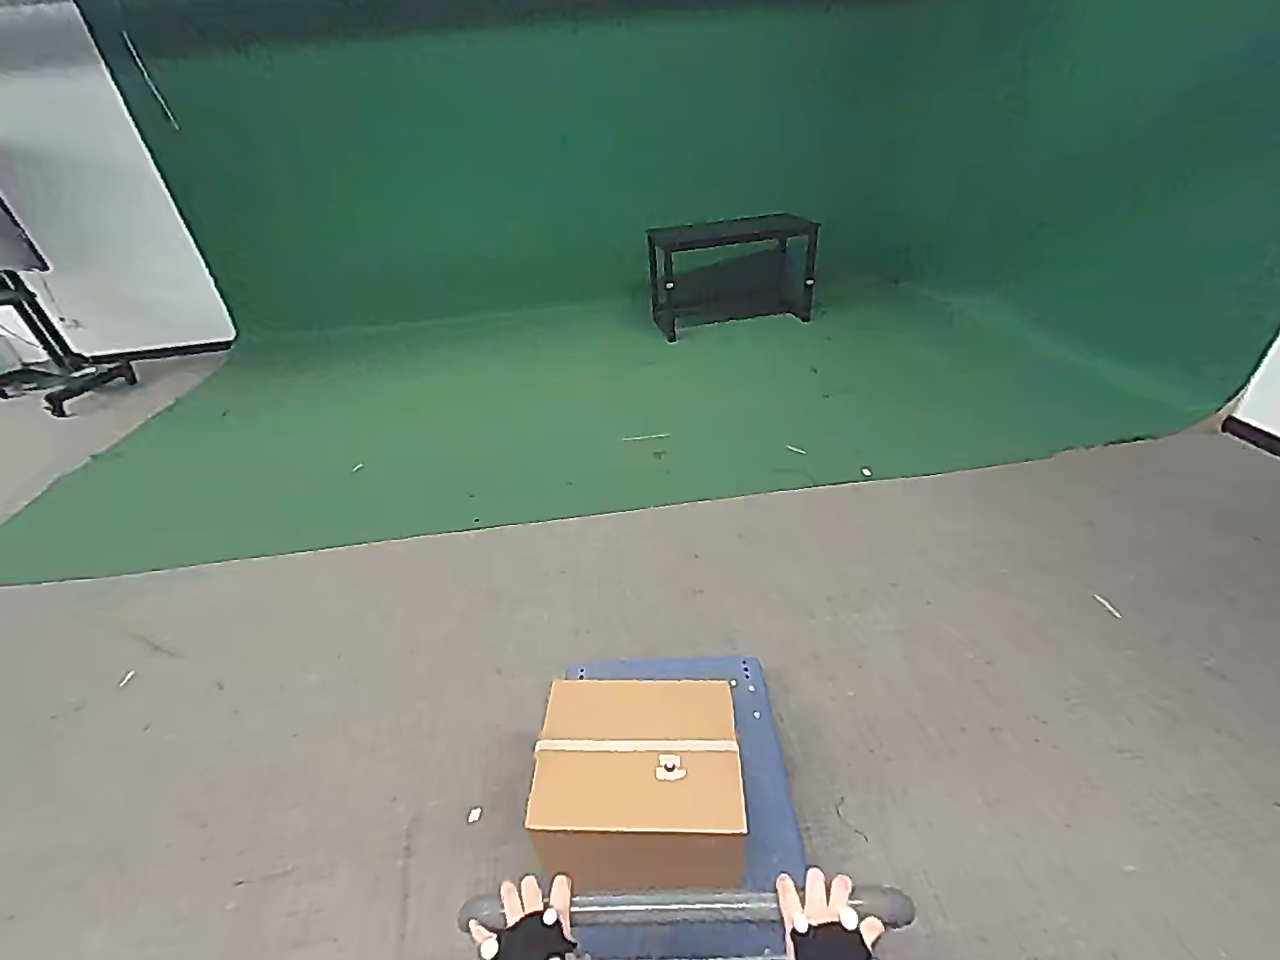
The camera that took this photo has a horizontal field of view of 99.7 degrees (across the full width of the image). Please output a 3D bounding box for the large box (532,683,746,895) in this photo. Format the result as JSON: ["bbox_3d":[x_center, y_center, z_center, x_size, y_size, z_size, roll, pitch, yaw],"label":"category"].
[{"bbox_3d":[0.004,0.675,1.194,0.408,0.320,0.320,-1,34,3],"label":"large box"}]
